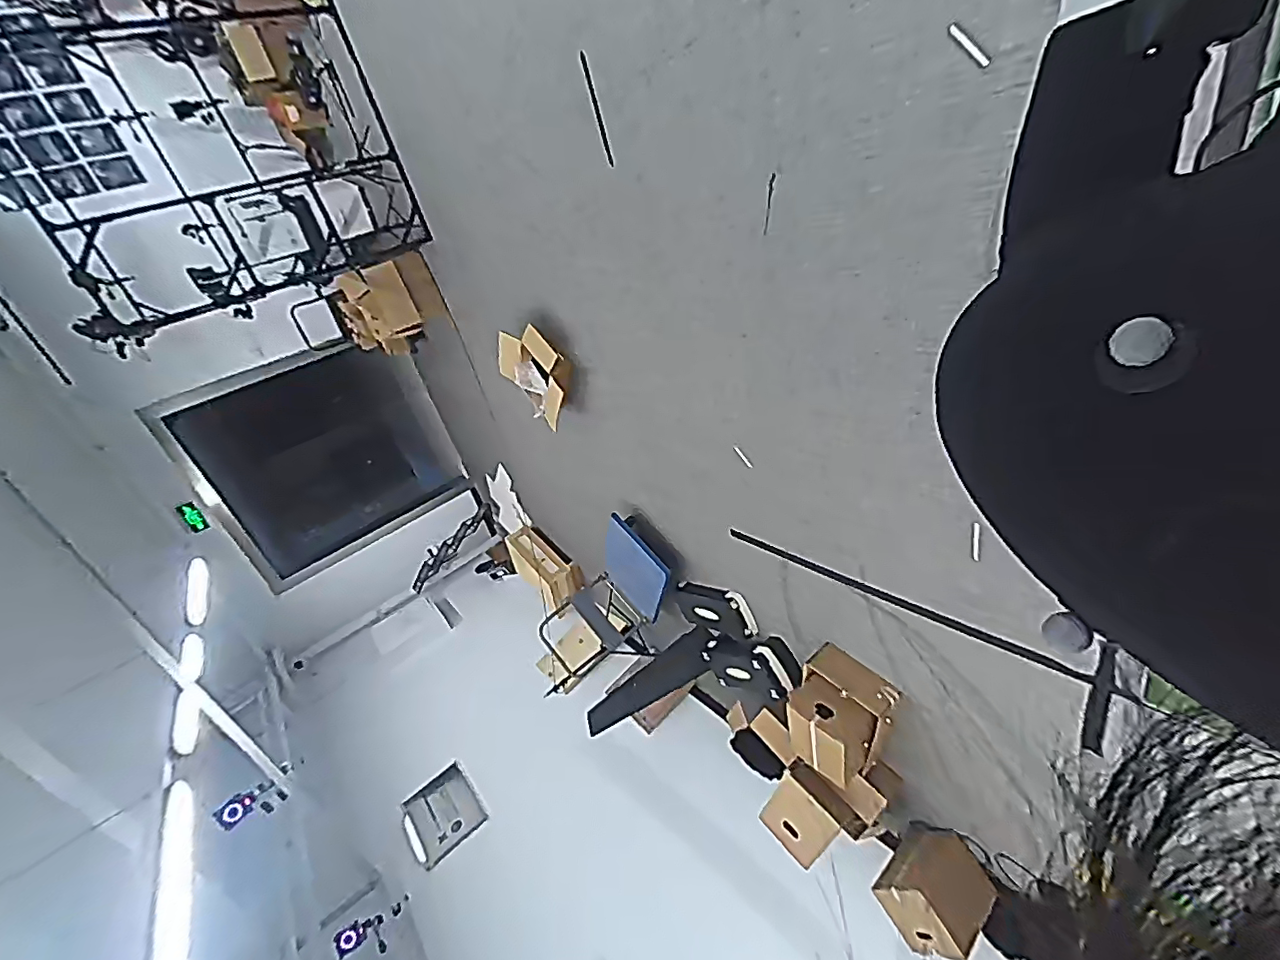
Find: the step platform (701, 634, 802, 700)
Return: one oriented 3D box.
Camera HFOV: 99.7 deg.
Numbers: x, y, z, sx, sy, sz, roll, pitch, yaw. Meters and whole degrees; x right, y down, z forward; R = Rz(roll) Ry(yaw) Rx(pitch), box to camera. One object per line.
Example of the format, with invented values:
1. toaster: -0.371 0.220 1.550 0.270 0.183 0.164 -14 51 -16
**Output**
1. step platform: 0.650 1.122 3.274 0.286 0.204 0.684 58 152 -1
